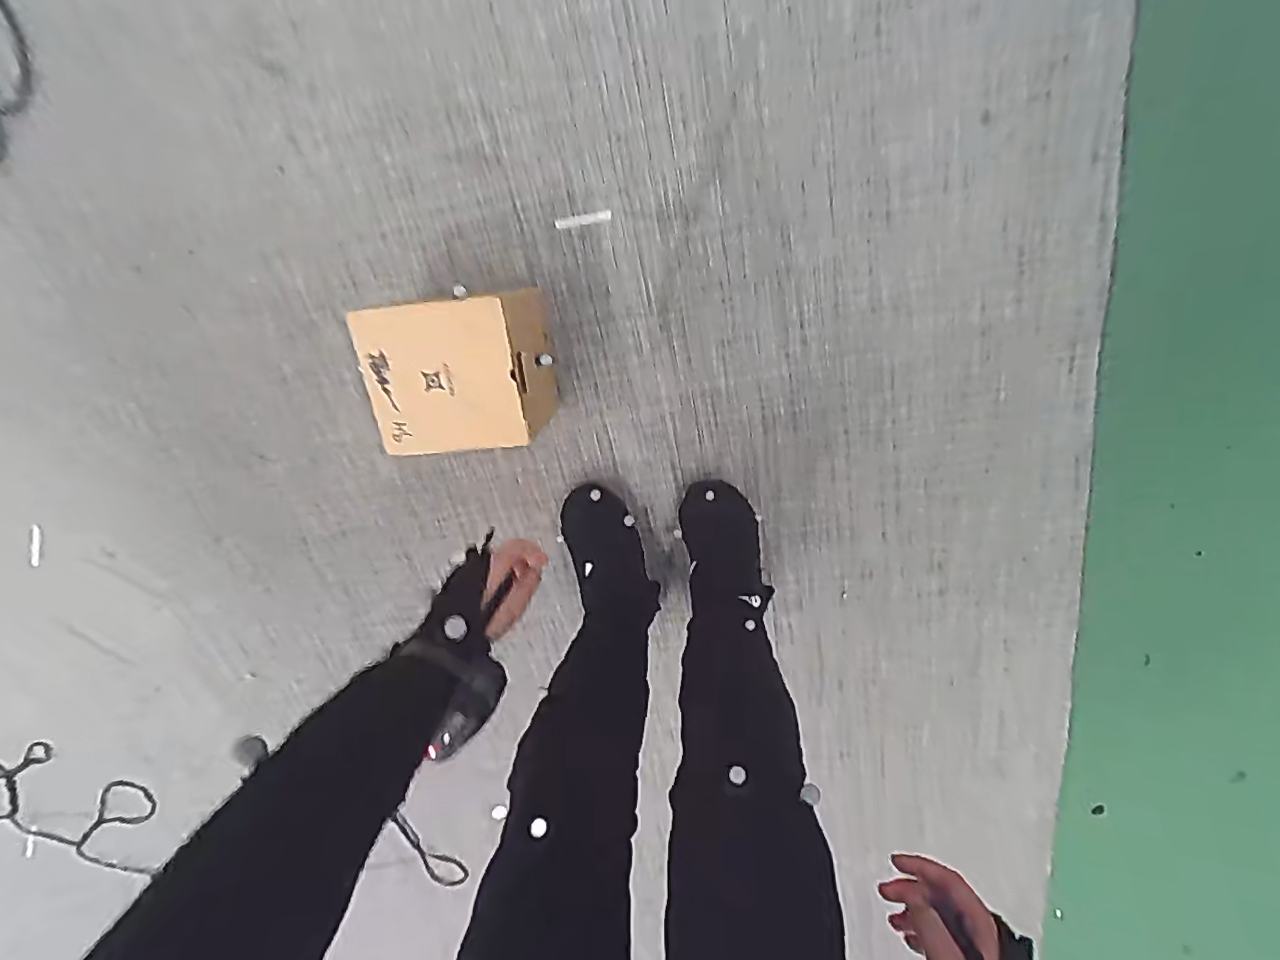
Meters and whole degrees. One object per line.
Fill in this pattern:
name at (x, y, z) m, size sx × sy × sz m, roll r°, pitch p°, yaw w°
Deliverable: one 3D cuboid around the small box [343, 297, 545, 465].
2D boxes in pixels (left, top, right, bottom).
small box at (-0.222, -0.130, 0.674) m, size 0.179 × 0.176 × 0.168 m, roll -4°, pitch 113°, yaw 5°
